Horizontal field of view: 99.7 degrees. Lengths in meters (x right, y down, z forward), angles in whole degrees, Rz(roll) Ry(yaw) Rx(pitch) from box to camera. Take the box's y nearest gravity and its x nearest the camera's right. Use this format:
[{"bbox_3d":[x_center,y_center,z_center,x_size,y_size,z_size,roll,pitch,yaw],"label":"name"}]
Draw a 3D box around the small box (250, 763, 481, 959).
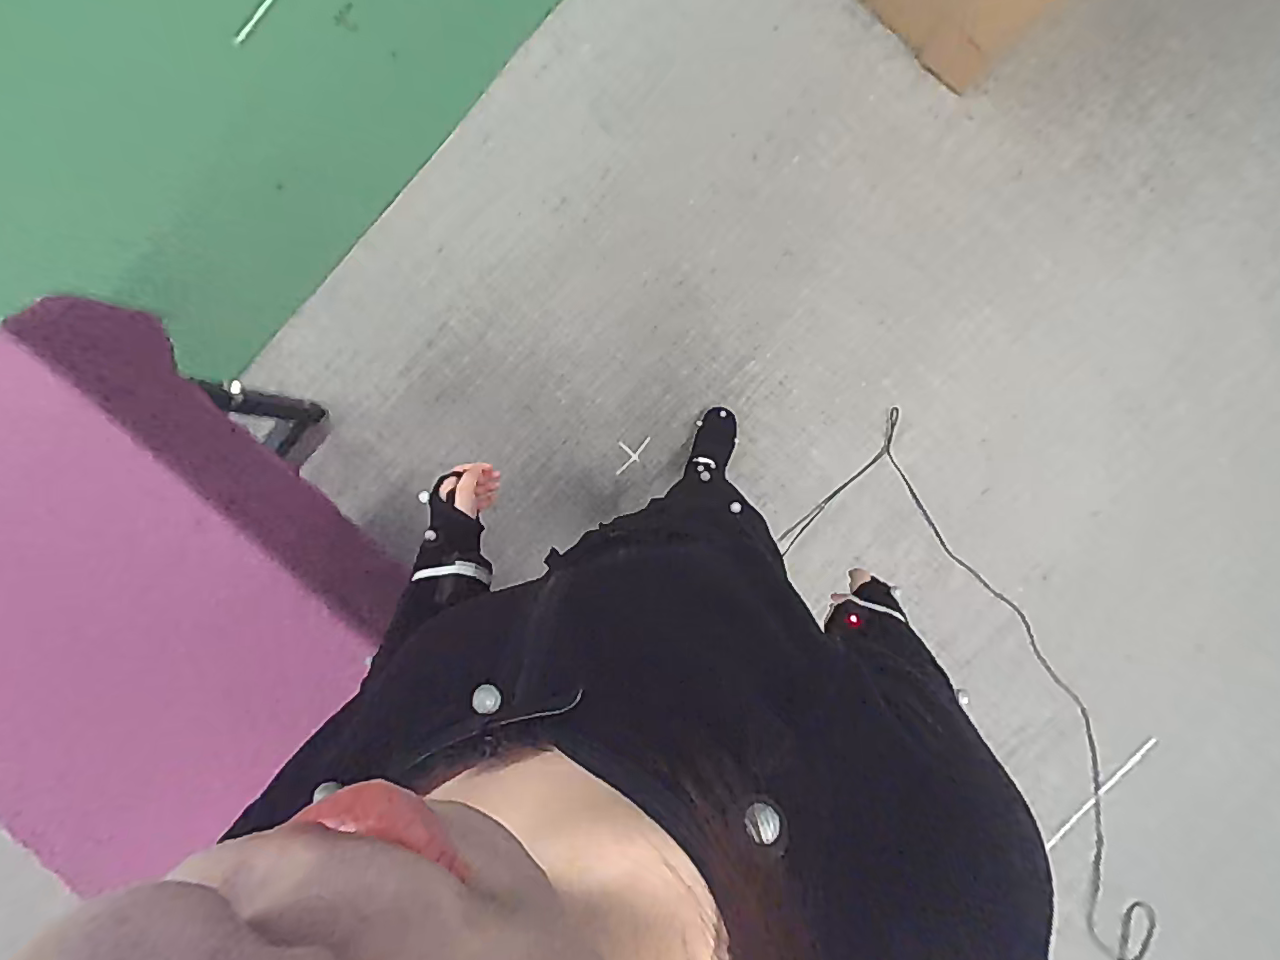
[{"bbox_3d":[-0.347,0.516,0.717,0.179,0.176,0.168,37,94,1],"label":"small box"}]
